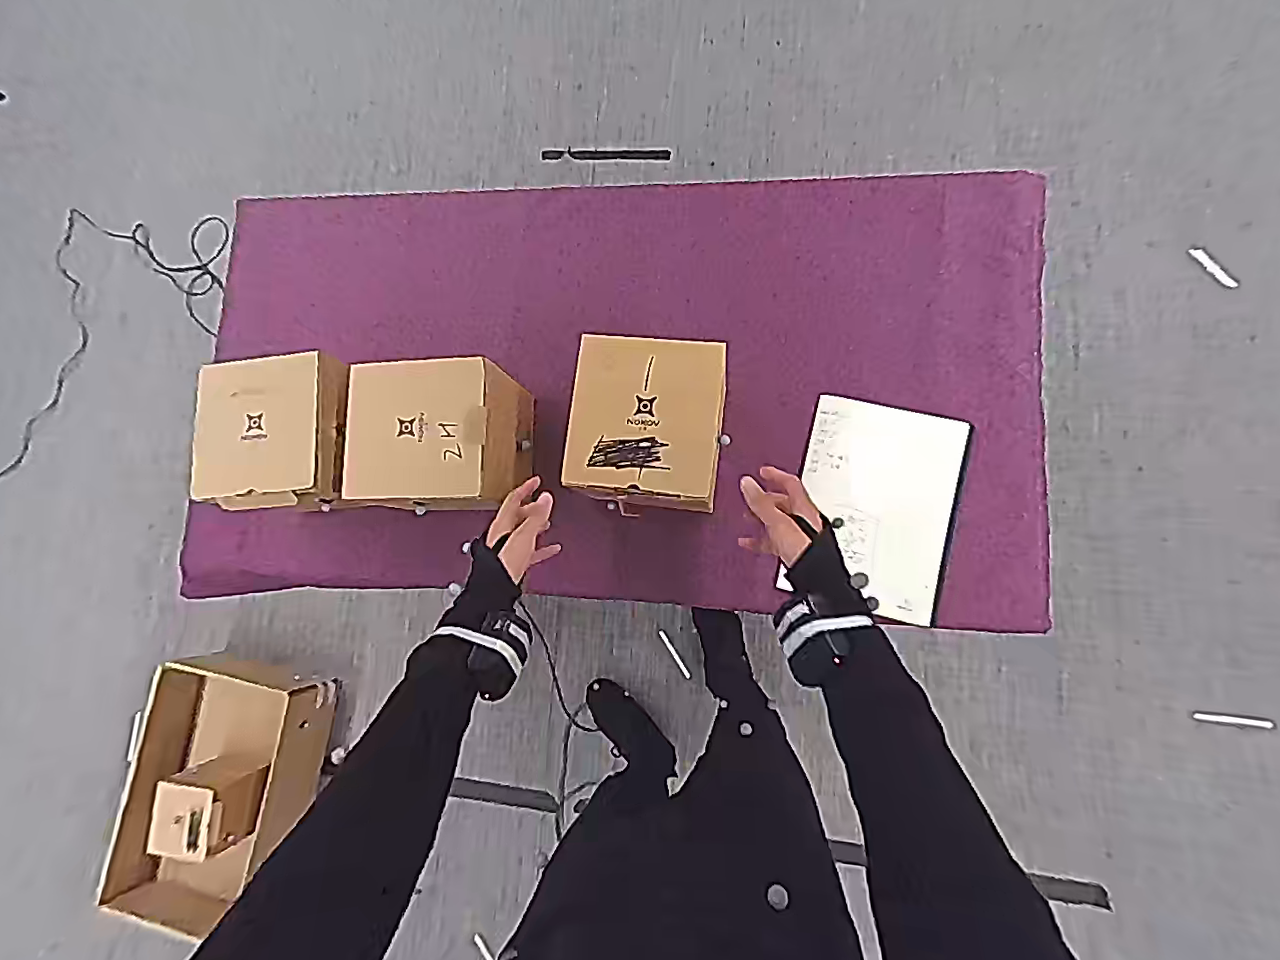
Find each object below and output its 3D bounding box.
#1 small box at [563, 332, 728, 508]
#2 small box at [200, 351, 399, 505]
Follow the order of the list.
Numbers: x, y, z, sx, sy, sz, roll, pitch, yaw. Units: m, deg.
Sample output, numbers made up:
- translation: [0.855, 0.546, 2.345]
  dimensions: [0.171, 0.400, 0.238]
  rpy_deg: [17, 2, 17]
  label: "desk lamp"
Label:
- translation: [0.018, -0.064, 0.669]
  dimensions: [0.168, 0.176, 0.179]
  rpy_deg: [7, 83, 9]
  label: "small box"
- translation: [-0.451, -0.058, 0.740]
  dimensions: [0.168, 0.176, 0.179]
  rpy_deg: [-4, 81, 7]
  label: "small box"
